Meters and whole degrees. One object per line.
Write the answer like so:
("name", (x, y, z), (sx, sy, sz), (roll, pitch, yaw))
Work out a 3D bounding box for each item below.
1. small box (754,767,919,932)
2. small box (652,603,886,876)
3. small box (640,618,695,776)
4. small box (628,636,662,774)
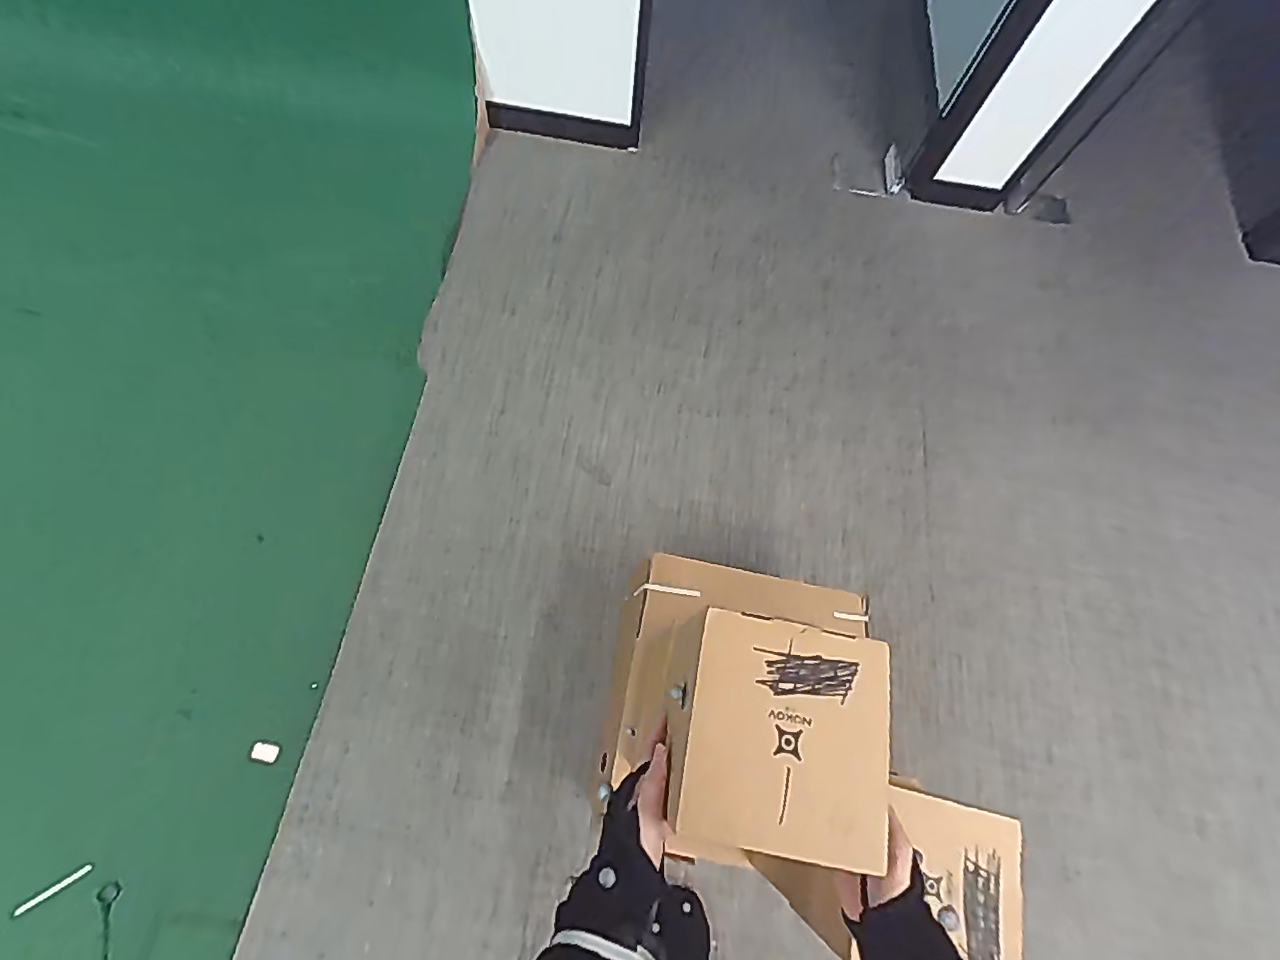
("small box", (0.272, 0.492, 0.771), (0.168, 0.176, 0.179), (14, 65, 0))
("small box", (0.111, 0.232, 0.511), (0.168, 0.176, 0.179), (12, 67, 0))
("small box", (0.097, 0.285, 0.667), (0.168, 0.176, 0.179), (11, 67, -1))
("small box", (0.078, 0.350, 0.815), (0.168, 0.176, 0.179), (12, 65, 0))
